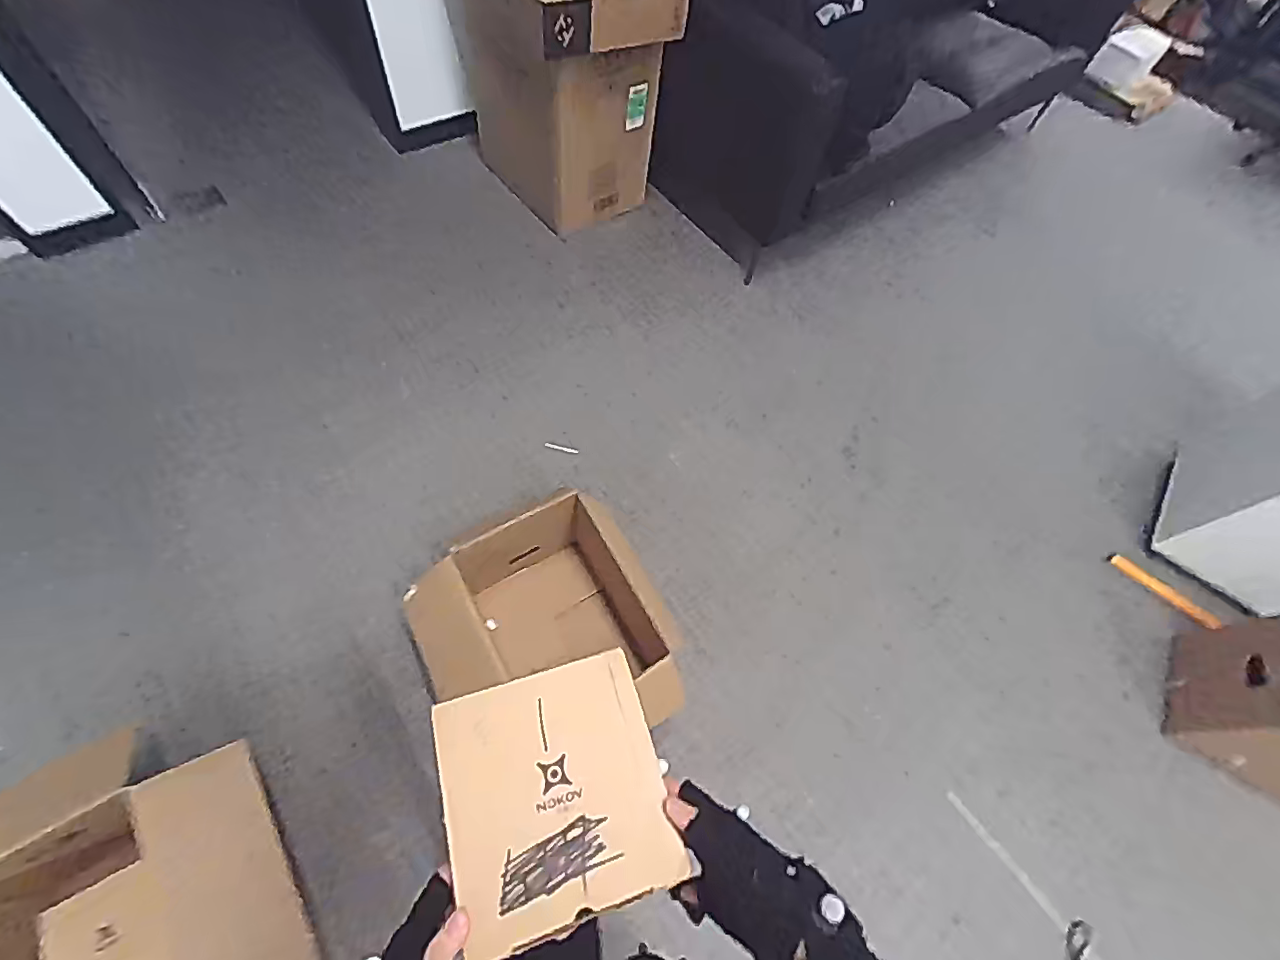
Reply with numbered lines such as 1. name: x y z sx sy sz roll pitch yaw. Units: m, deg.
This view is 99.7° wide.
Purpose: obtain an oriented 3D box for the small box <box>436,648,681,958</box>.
1. small box: -0.075 0.277 0.488 0.168 0.176 0.179 -11 59 -14
